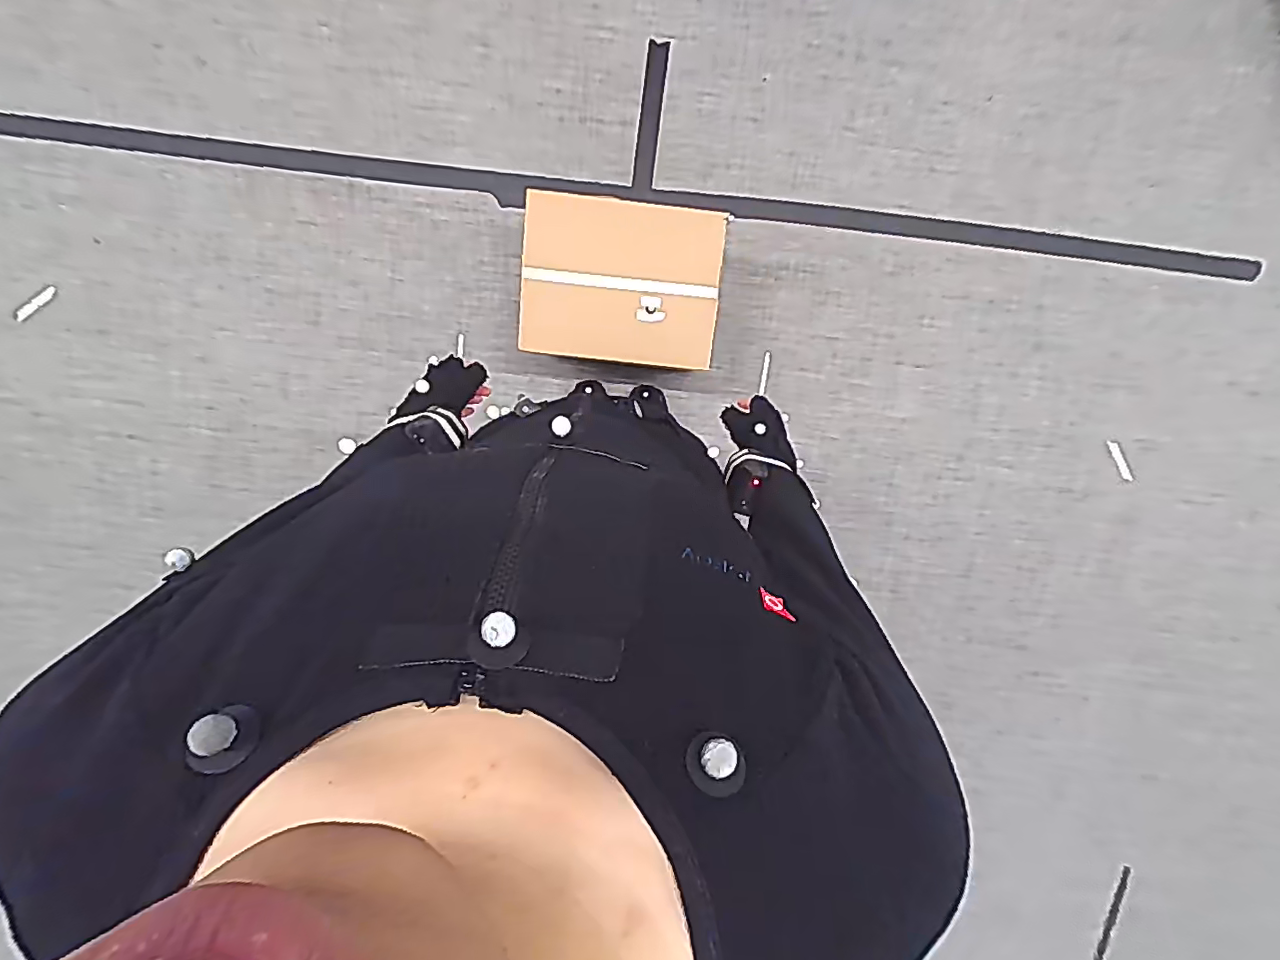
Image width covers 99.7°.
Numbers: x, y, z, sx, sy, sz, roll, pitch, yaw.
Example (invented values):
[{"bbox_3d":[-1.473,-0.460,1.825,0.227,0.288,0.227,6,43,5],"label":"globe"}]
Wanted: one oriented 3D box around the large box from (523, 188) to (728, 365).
[{"bbox_3d":[-0.040,-0.440,1.247,0.408,0.320,0.320,5,102,-3],"label":"large box"}]
